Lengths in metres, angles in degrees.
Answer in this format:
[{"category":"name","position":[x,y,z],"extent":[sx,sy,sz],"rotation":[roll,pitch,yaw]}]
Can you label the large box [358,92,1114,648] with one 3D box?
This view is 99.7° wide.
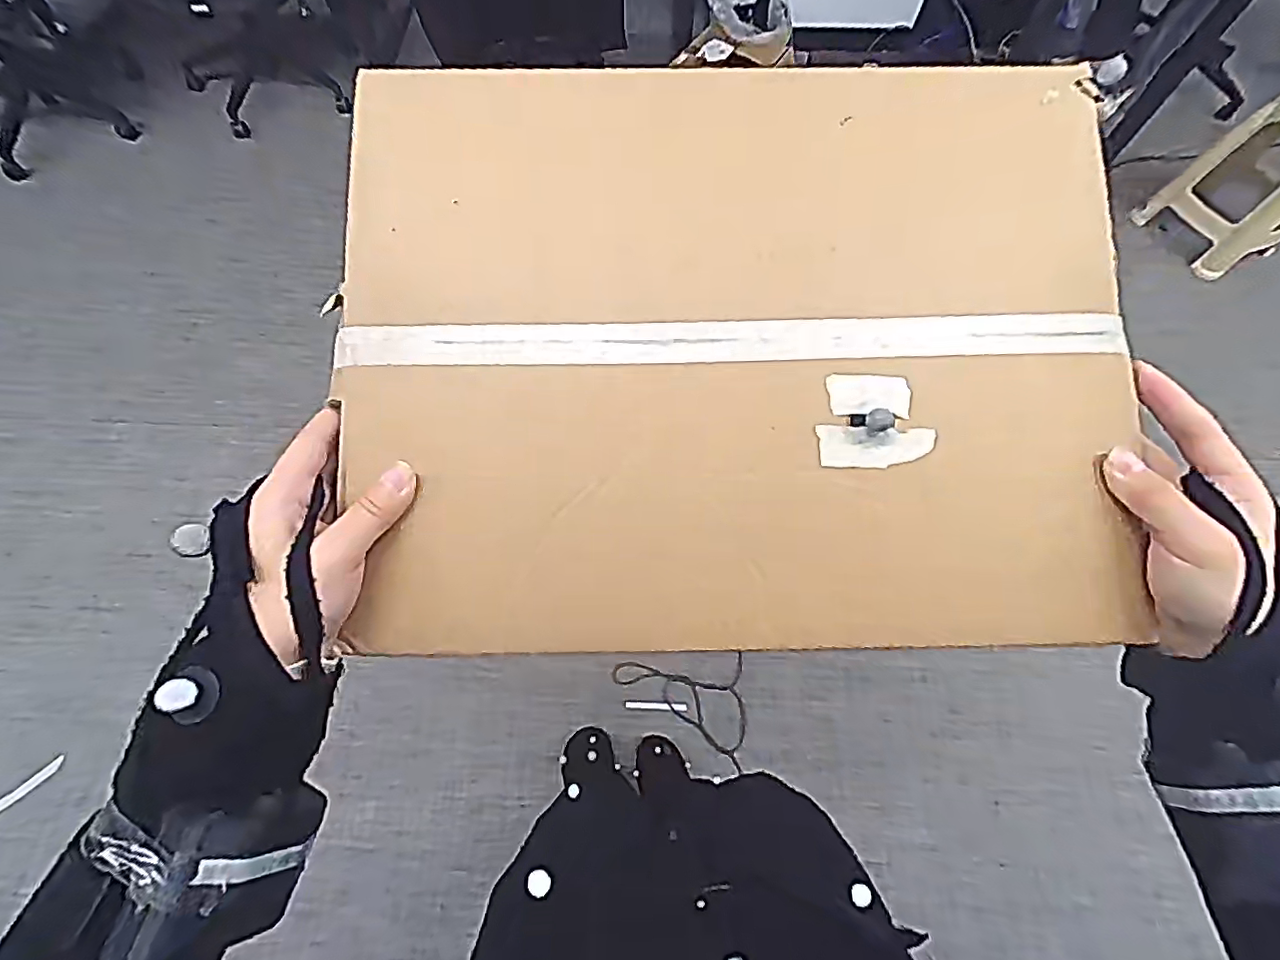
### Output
[{"category":"large box","position":[0.045,-0.054,0.445],"extent":[0.408,0.320,0.320],"rotation":[-1,84,-1]}]
